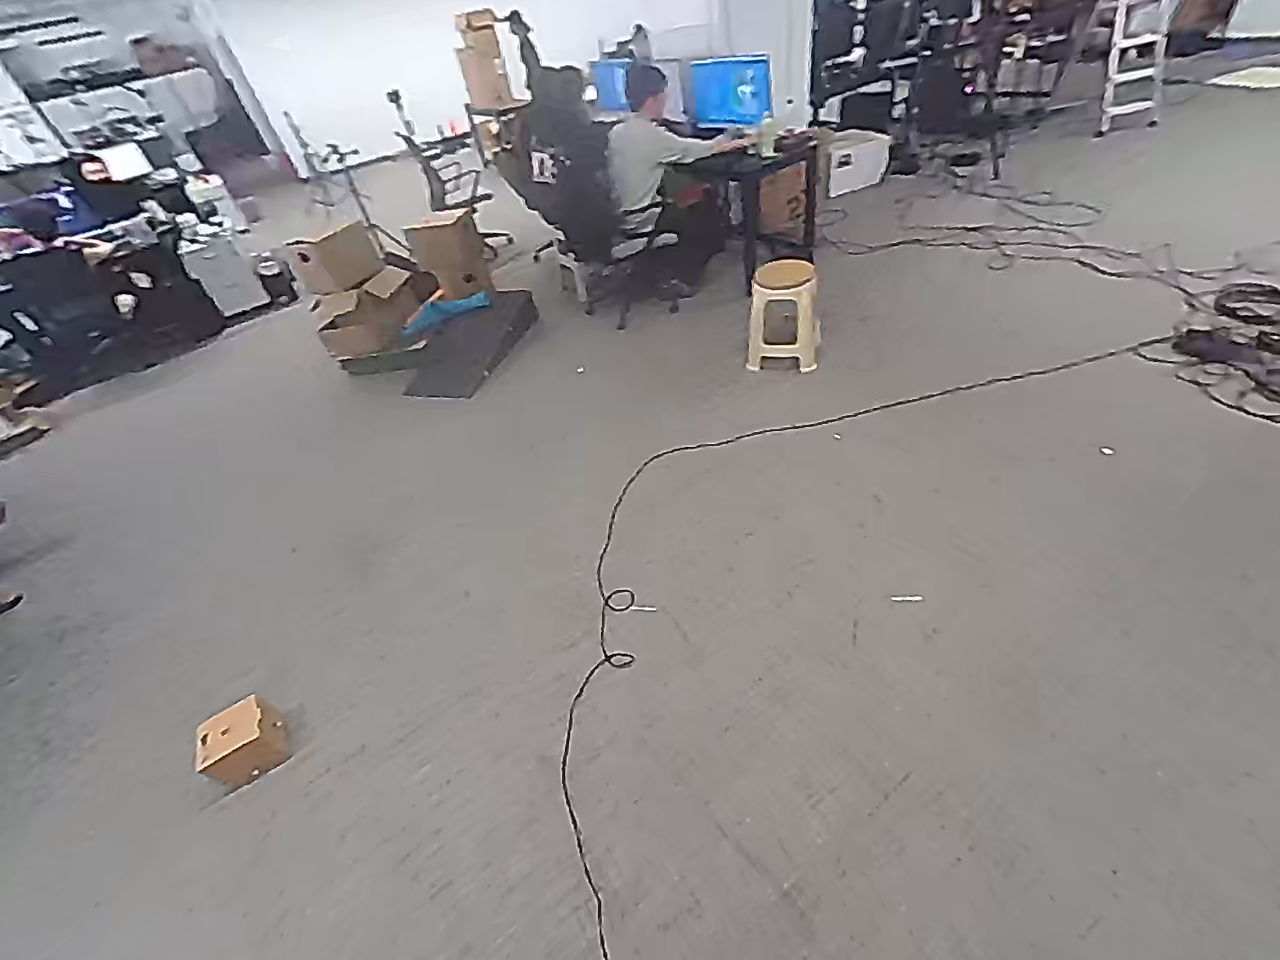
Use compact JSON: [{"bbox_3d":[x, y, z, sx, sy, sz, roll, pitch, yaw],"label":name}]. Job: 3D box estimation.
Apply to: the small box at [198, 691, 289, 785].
[{"bbox_3d":[-1.218,0.799,1.674,0.179,0.176,0.168,-29,44,-18],"label":"small box"}]
